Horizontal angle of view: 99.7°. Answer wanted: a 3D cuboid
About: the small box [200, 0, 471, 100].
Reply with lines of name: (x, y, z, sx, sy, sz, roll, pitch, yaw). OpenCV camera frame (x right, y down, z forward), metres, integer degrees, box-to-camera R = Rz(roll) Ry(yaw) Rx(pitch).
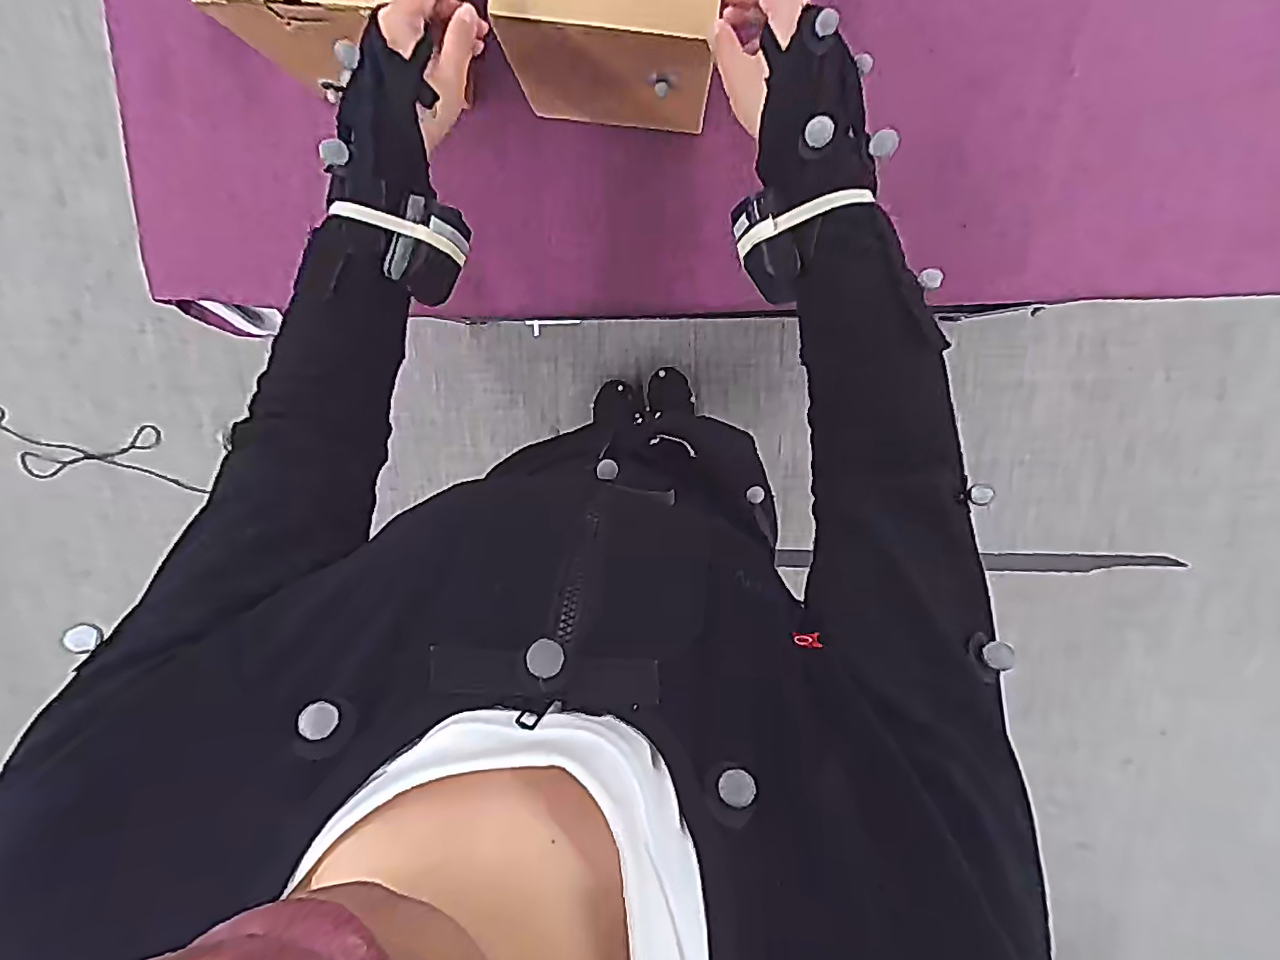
small box: (-0.253, -0.465, 0.469, 0.168, 0.176, 0.179, 5, 103, 1)
